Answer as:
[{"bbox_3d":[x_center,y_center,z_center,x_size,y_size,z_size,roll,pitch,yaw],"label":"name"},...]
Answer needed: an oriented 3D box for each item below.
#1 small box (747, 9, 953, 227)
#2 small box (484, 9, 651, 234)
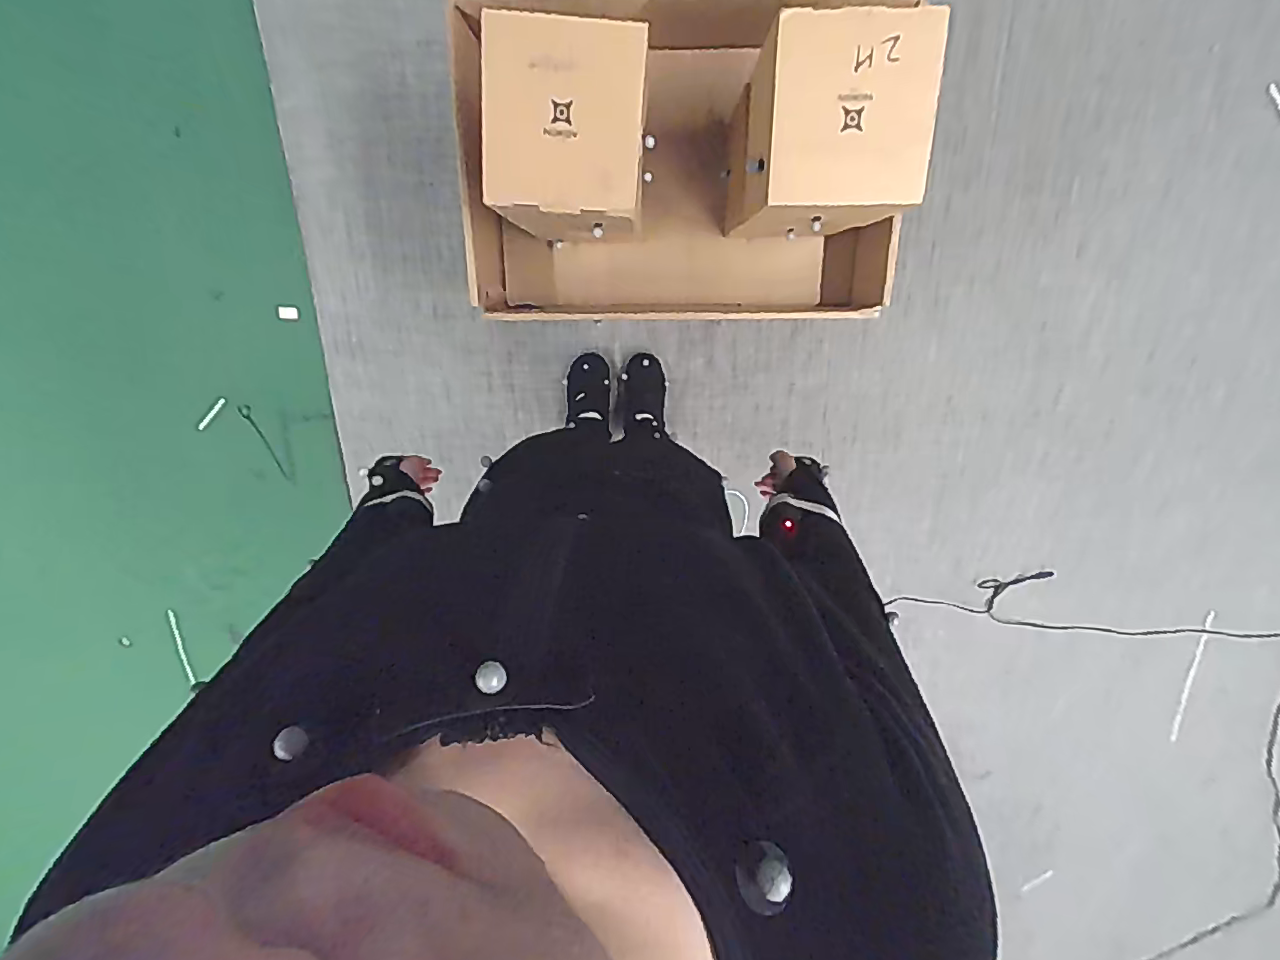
[{"bbox_3d":[0.220,-0.394,0.620,0.168,0.176,0.179,1,108,1],"label":"small box"},{"bbox_3d":[-0.076,-0.395,0.632,0.168,0.176,0.179,5,107,-1],"label":"small box"}]
